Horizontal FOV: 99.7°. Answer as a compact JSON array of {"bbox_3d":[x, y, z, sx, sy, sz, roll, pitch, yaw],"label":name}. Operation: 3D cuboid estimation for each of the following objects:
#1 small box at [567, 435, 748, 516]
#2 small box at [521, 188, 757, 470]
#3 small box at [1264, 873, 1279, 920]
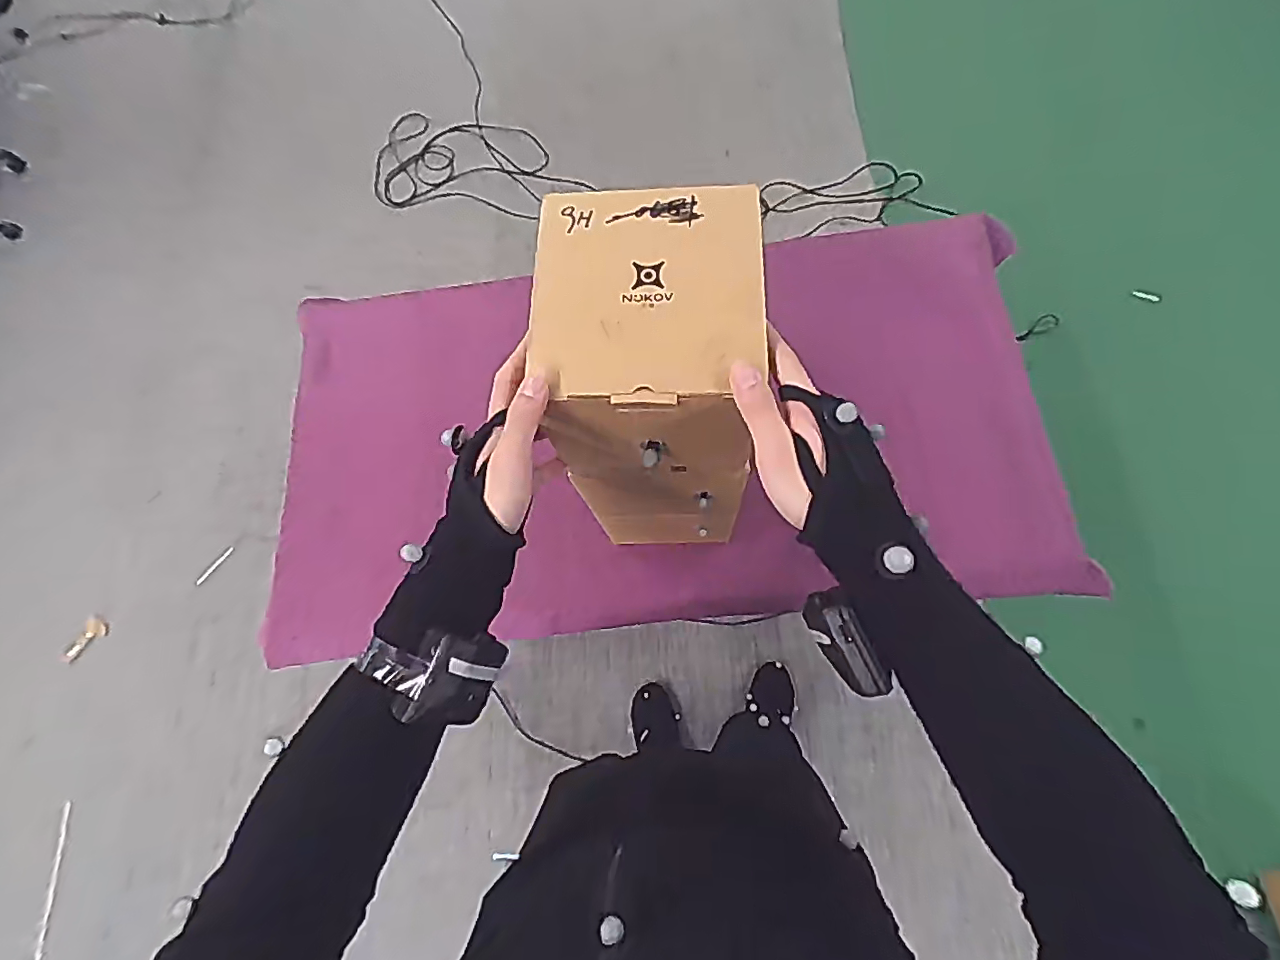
[{"bbox_3d":[0.023,-0.058,0.616,0.179,0.176,0.168,-2,72,5],"label":"small box"},{"bbox_3d":[0.009,-0.112,0.463,0.168,0.176,0.179,0,73,5],"label":"small box"},{"bbox_3d":[1.454,0.922,1.087,0.168,0.176,0.179,-9,72,3],"label":"small box"}]
